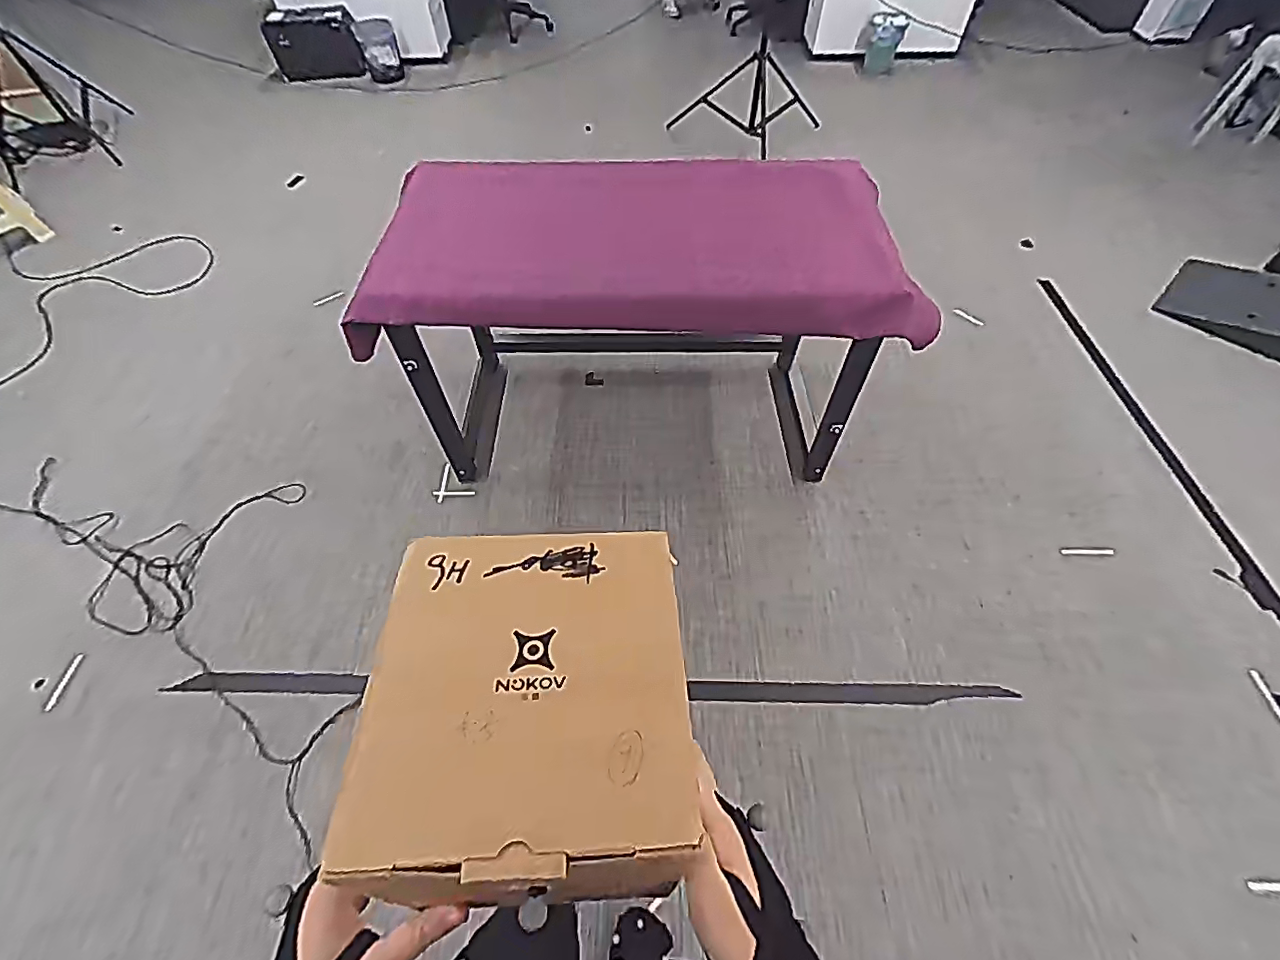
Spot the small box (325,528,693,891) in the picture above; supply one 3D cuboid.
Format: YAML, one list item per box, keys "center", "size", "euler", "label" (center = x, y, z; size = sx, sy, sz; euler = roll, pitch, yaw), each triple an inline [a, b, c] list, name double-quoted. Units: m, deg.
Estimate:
- center: [-0.062, 0.151, 0.350]
  size: [0.168, 0.176, 0.179]
  euler: [-1, 48, -4]
  label: "small box"
